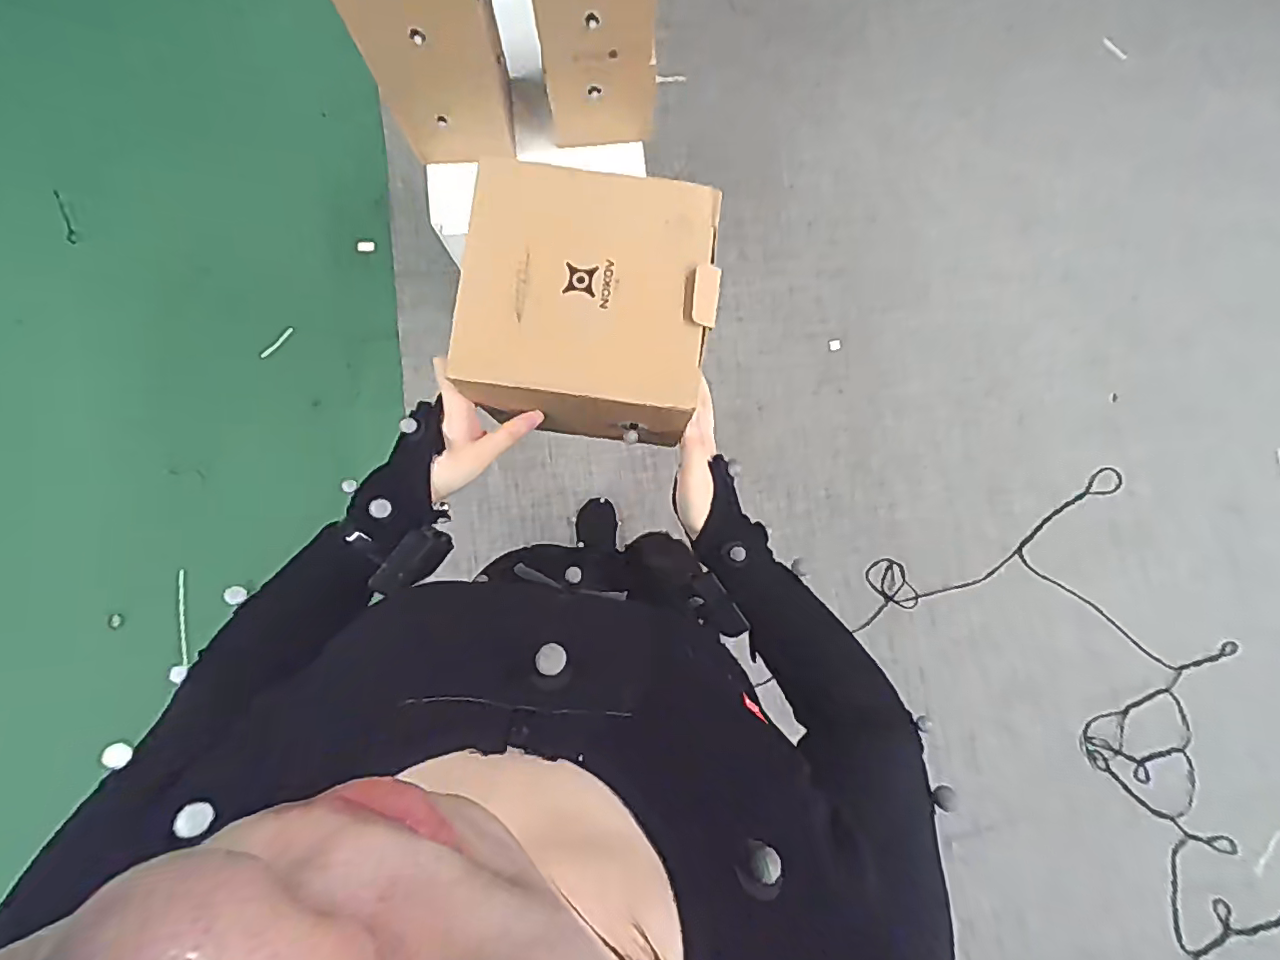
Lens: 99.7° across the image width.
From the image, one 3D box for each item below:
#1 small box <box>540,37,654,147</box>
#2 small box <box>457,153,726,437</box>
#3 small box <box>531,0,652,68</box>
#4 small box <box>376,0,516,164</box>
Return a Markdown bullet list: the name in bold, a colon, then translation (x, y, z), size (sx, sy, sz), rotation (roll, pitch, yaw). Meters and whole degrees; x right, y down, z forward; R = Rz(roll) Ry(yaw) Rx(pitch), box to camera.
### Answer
- **small box**: translation (-0.072, -0.698, 0.919), size (0.179, 0.176, 0.168), rotation (-5, 85, -2)
- **small box**: translation (-0.034, -0.136, 0.460), size (0.179, 0.176, 0.168), rotation (6, 83, -1)
- **small box**: translation (-0.073, -0.716, 0.755), size (0.168, 0.176, 0.179), rotation (-8, 85, -2)
- **small box**: translation (-0.316, -0.660, 0.906), size (0.179, 0.176, 0.168), rotation (-5, 85, -4)
